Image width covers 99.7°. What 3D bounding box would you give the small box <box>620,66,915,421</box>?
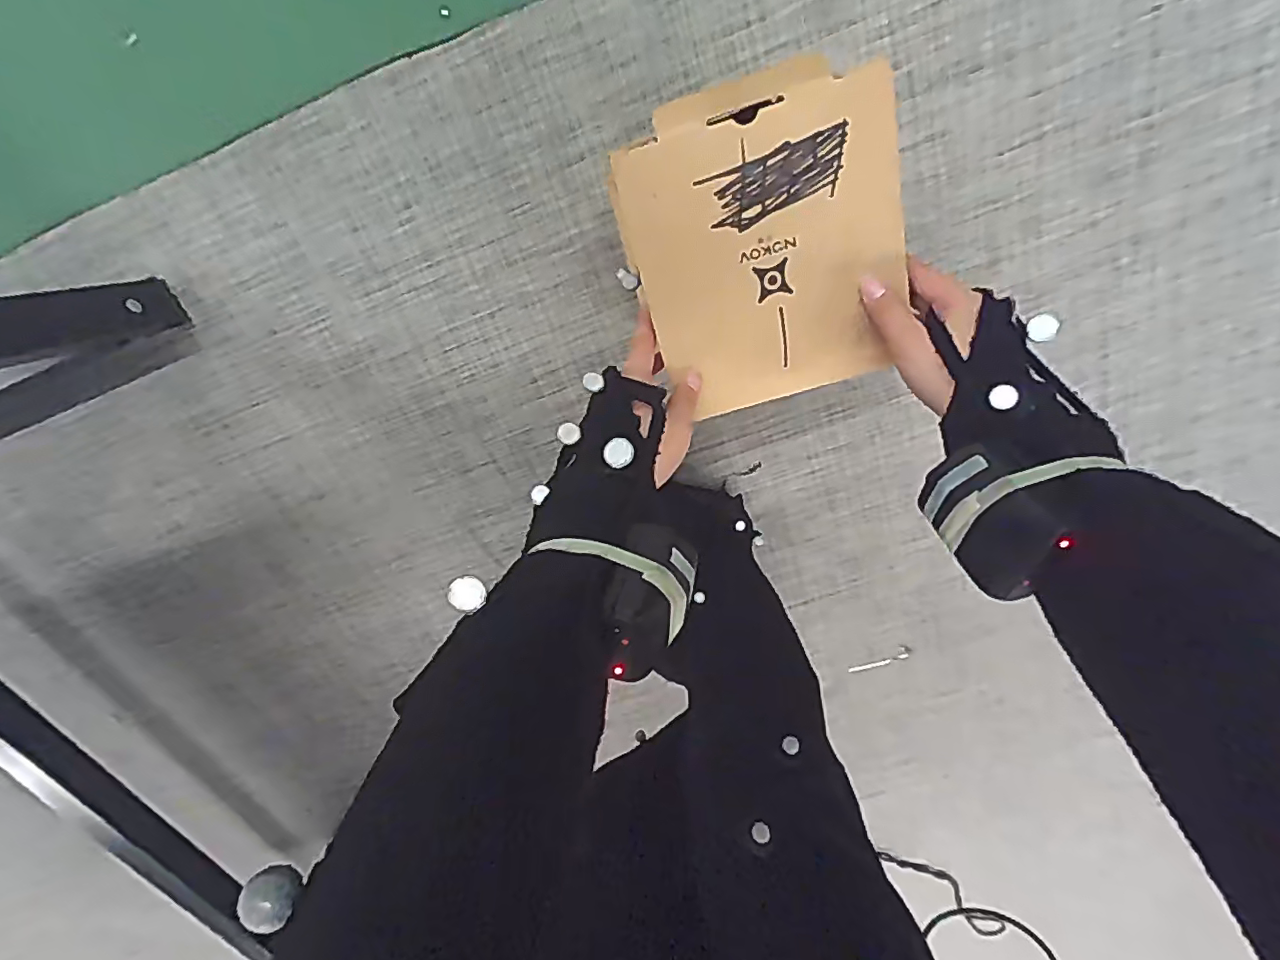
[{"bbox_3d":[0.085,-0.169,0.416,0.168,0.176,0.179,-15,114,6],"label":"small box"}]
